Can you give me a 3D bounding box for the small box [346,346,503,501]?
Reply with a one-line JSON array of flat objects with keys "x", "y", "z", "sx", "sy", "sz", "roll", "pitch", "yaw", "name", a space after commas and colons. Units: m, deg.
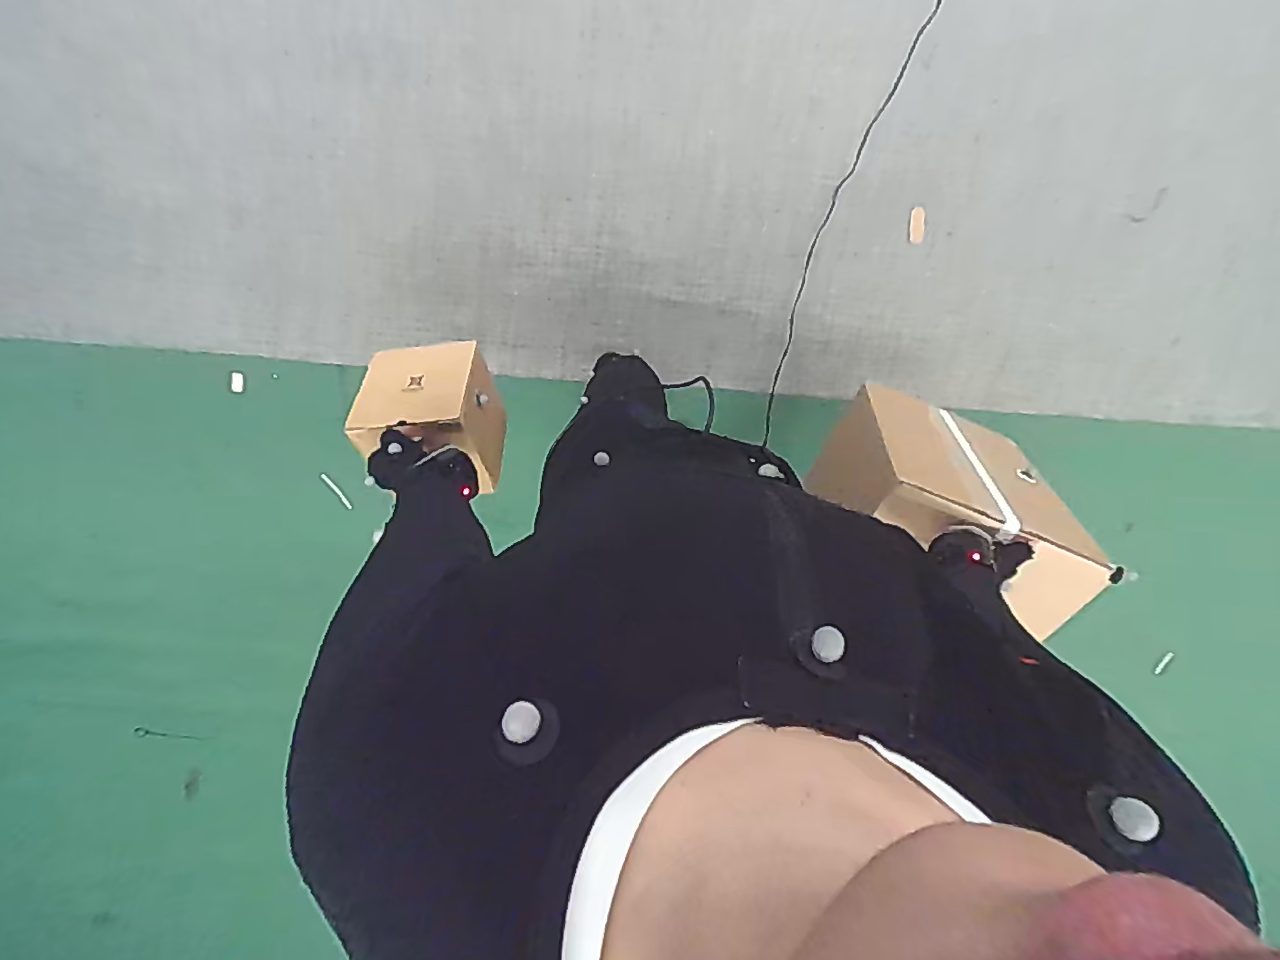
[{"x": -0.326, "y": -0.088, "z": 0.863, "sx": 0.168, "sy": 0.179, "sz": 0.176, "roll": -6, "pitch": 141, "yaw": 3, "name": "small box"}]
